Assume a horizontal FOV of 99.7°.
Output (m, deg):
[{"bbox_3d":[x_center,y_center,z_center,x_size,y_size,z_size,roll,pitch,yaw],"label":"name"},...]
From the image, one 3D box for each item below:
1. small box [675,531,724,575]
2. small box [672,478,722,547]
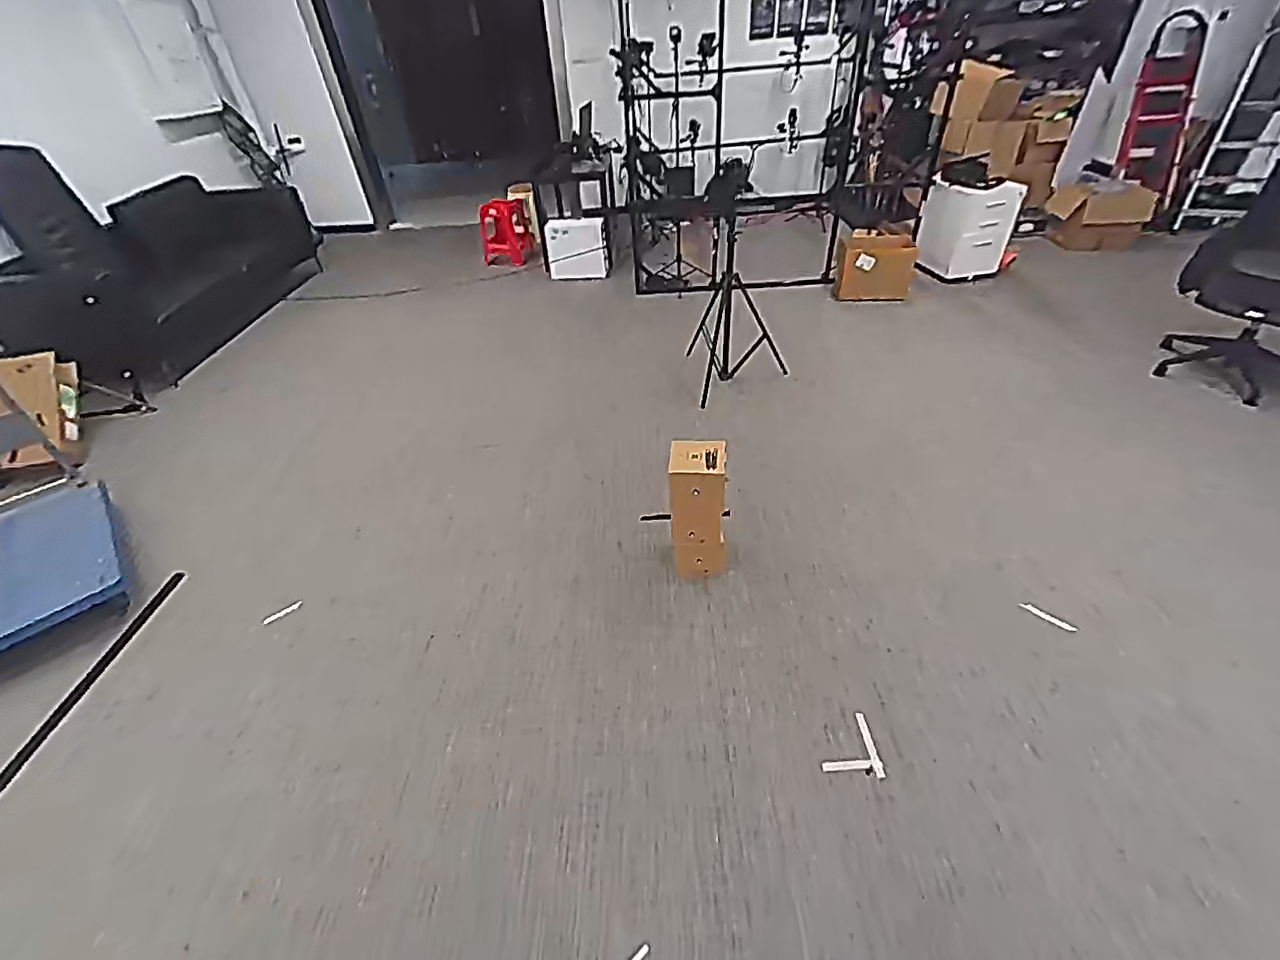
[{"bbox_3d":[0.212,0.233,1.971,0.168,0.176,0.179,-4,39,1],"label":"small box"},{"bbox_3d":[0.196,0.110,1.864,0.168,0.176,0.179,0,40,6],"label":"small box"}]
